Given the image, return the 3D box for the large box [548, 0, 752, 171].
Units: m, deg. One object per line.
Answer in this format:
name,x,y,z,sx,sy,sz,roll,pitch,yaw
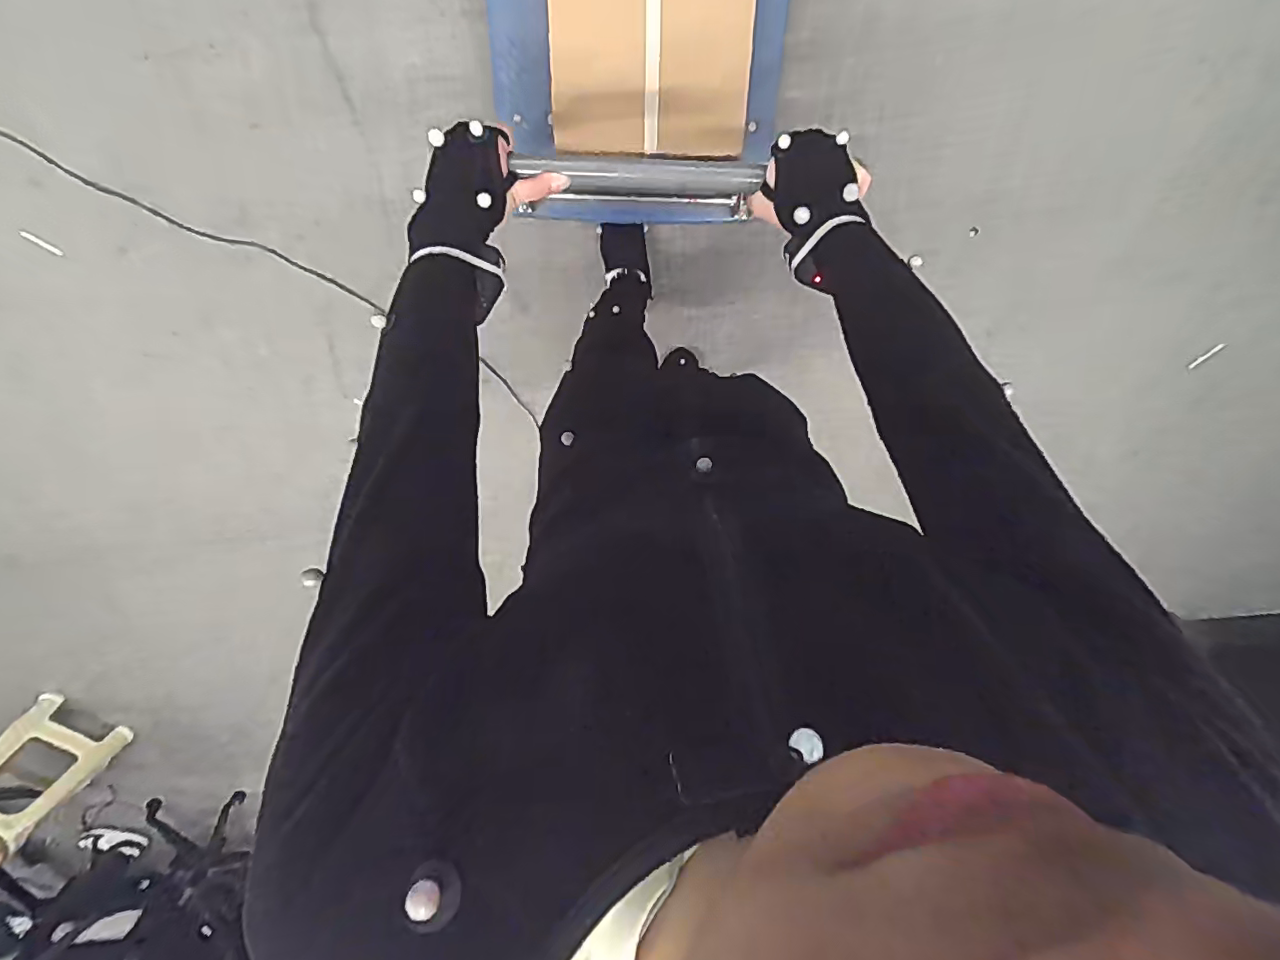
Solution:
large box,0.014,-0.782,0.946,0.320,0.320,0.408,0,116,-2
